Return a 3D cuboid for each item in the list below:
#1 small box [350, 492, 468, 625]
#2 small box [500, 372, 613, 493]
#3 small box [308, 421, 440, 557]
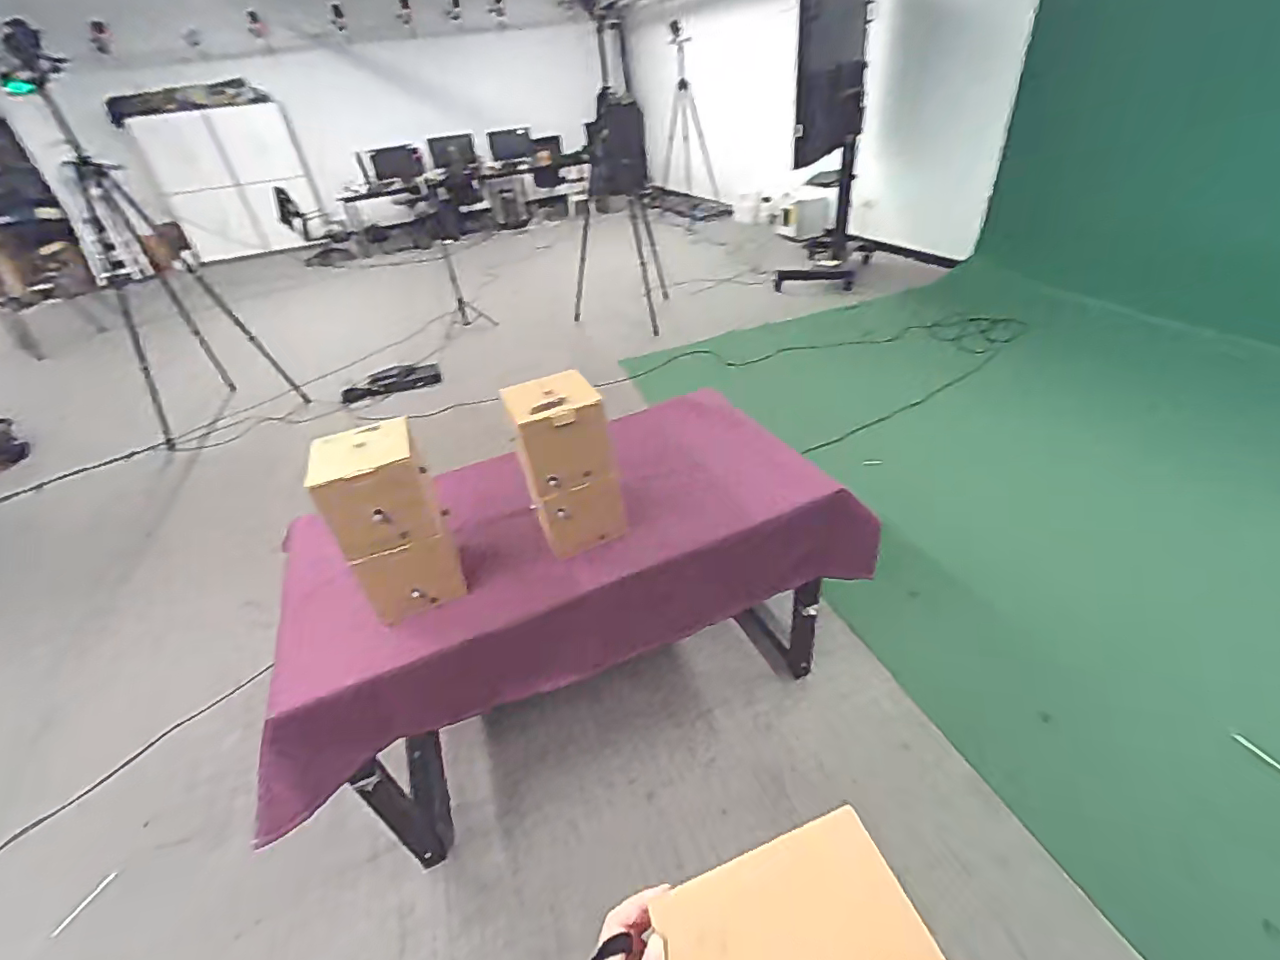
[{"bbox_3d":[-0.459,0.156,1.086,0.168,0.176,0.179,-19,37,-14],"label":"small box"},{"bbox_3d":[-0.165,-0.091,1.089,0.168,0.176,0.179,-20,36,-16],"label":"small box"},{"bbox_3d":[-0.479,0.021,0.993,0.168,0.176,0.179,-18,37,-15],"label":"small box"}]
